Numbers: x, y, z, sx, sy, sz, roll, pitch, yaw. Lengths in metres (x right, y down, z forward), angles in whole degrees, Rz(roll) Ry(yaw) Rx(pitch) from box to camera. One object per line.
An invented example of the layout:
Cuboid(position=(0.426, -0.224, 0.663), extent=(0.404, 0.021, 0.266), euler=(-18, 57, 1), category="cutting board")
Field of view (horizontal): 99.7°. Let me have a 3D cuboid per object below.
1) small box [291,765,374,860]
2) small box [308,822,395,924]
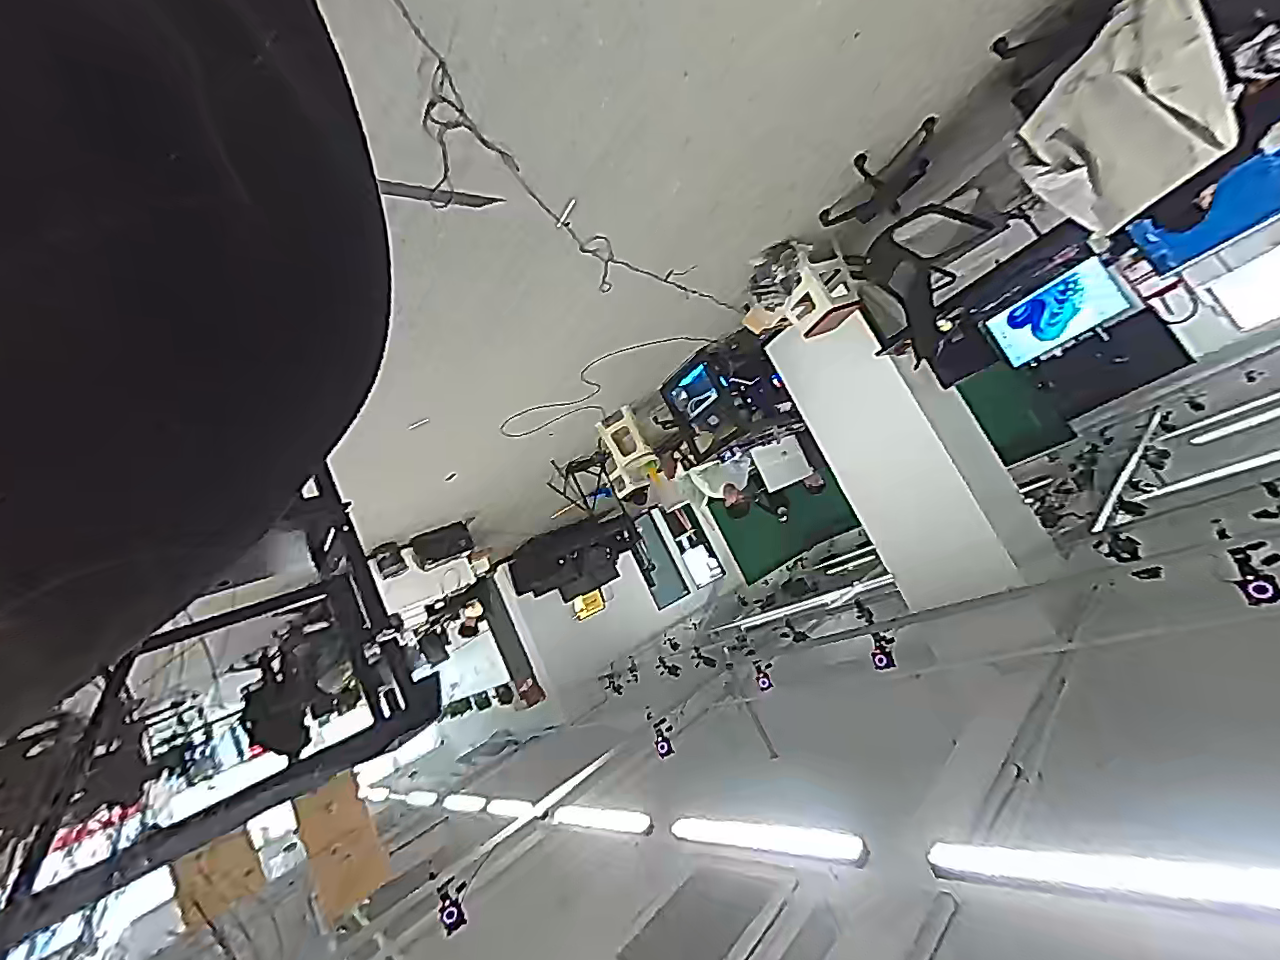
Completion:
Cuboid(position=(-0.885, 0.941, 1.550), extent=(0.168, 0.176, 0.179), euler=(-18, 168, -37), category="small box")
Cuboid(position=(-0.817, 1.090, 1.526), extent=(0.168, 0.176, 0.179), euler=(-20, 170, -38), category="small box")
